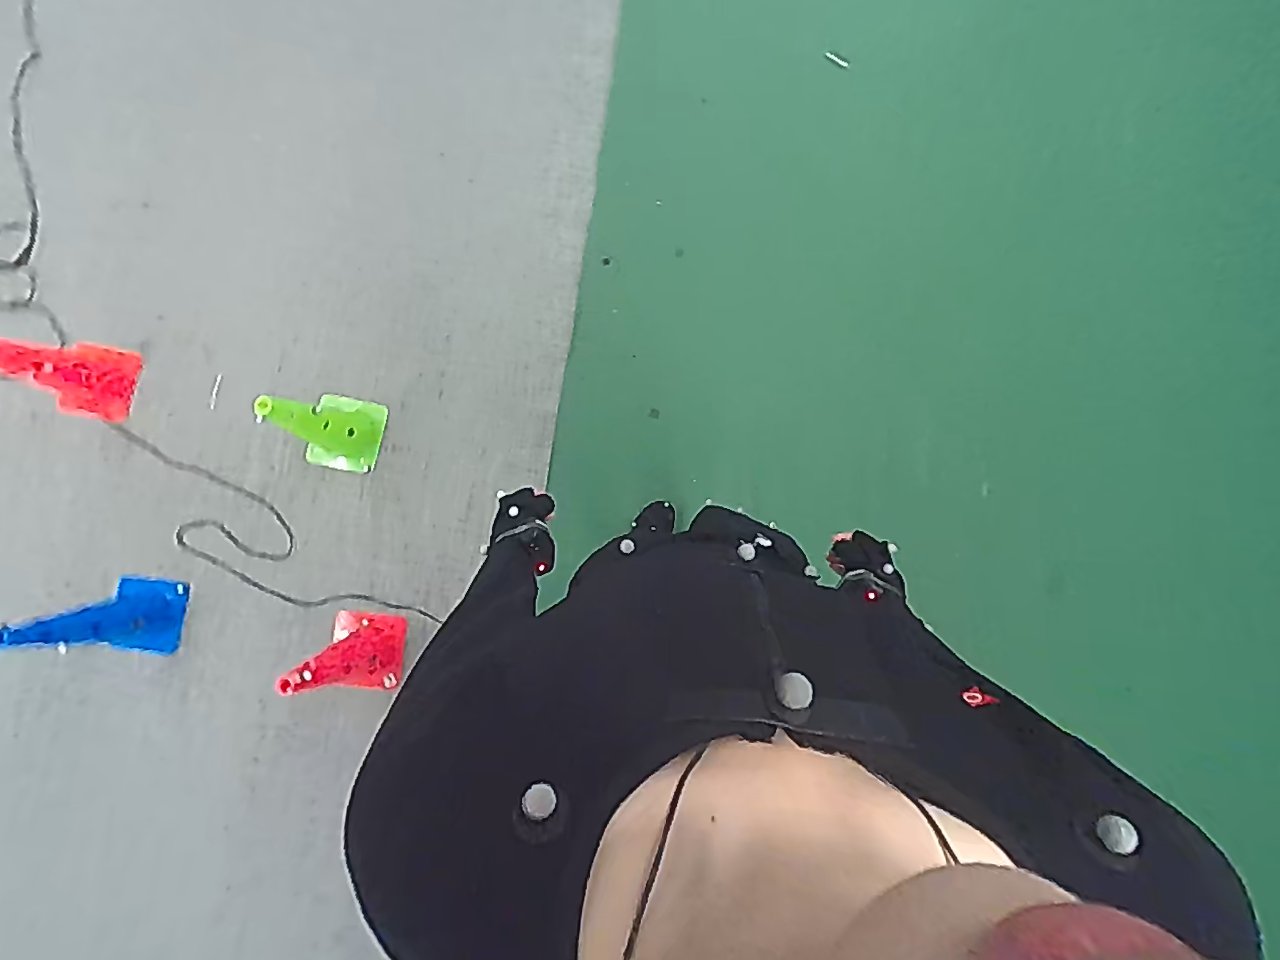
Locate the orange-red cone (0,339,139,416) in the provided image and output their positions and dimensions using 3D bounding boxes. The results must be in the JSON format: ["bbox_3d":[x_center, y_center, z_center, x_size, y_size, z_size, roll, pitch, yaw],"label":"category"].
[{"bbox_3d":[-1.553,-0.307,1.382,0.199,0.360,0.198,13,86,-1],"label":"orange-red cone"}]

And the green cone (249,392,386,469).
[{"bbox_3d":[-0.836,-0.159,1.368,0.202,0.368,0.200,11,84,2],"label":"green cone"}]
